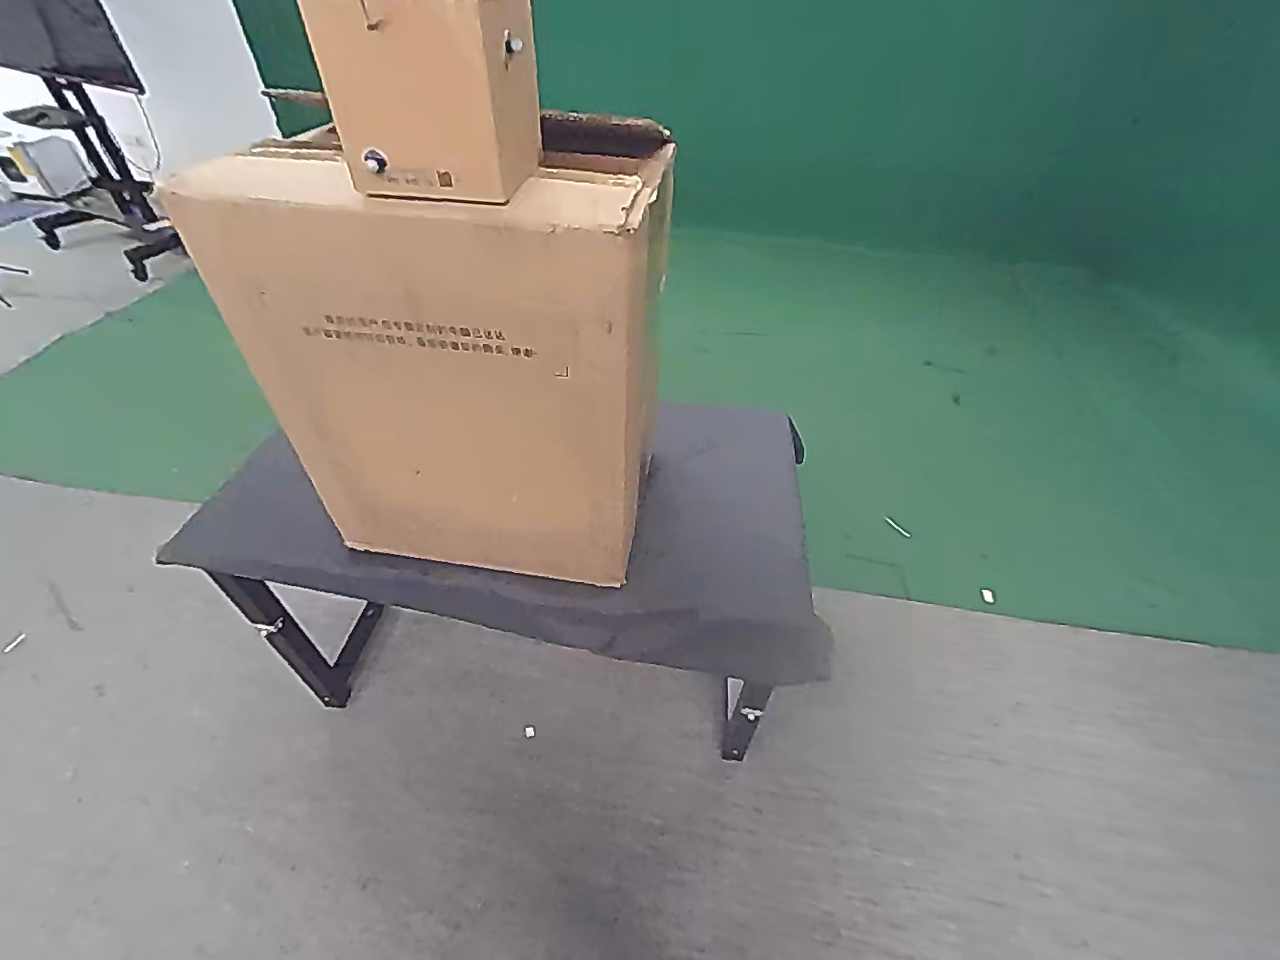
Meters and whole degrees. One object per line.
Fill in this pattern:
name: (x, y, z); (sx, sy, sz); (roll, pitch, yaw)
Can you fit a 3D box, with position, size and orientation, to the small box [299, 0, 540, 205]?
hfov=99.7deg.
small box: (-0.210, -0.411, 0.581); (0.168, 0.176, 0.179); (6, 44, 3)
